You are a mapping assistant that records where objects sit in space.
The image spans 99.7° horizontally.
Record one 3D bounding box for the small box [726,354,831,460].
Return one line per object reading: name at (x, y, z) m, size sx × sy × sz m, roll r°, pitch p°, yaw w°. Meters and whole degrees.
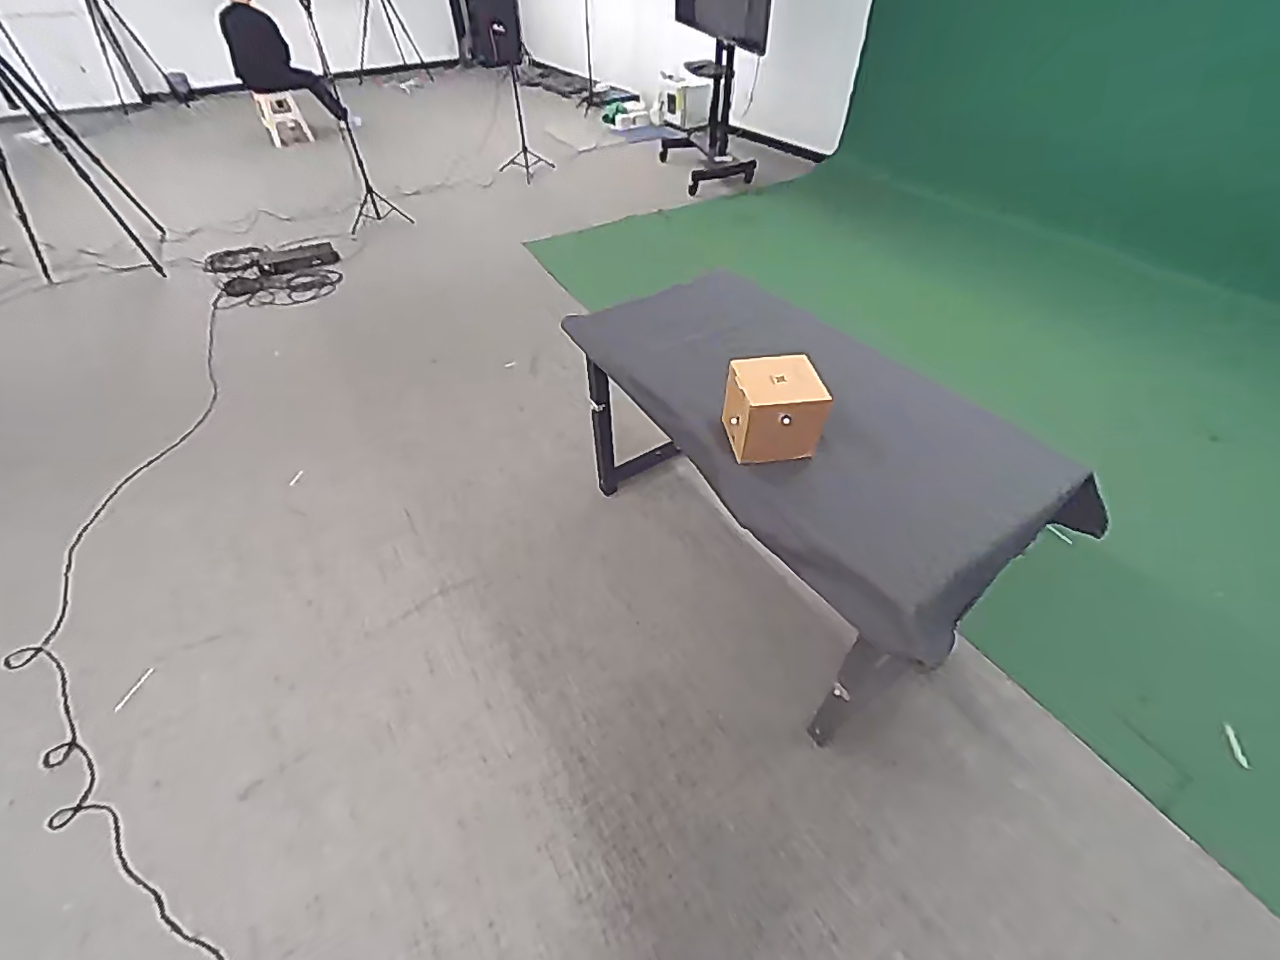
small box at (0.295, -0.160, 1.203) m, size 0.179 × 0.176 × 0.168 m, roll -5°, pitch 47°, yaw -5°
